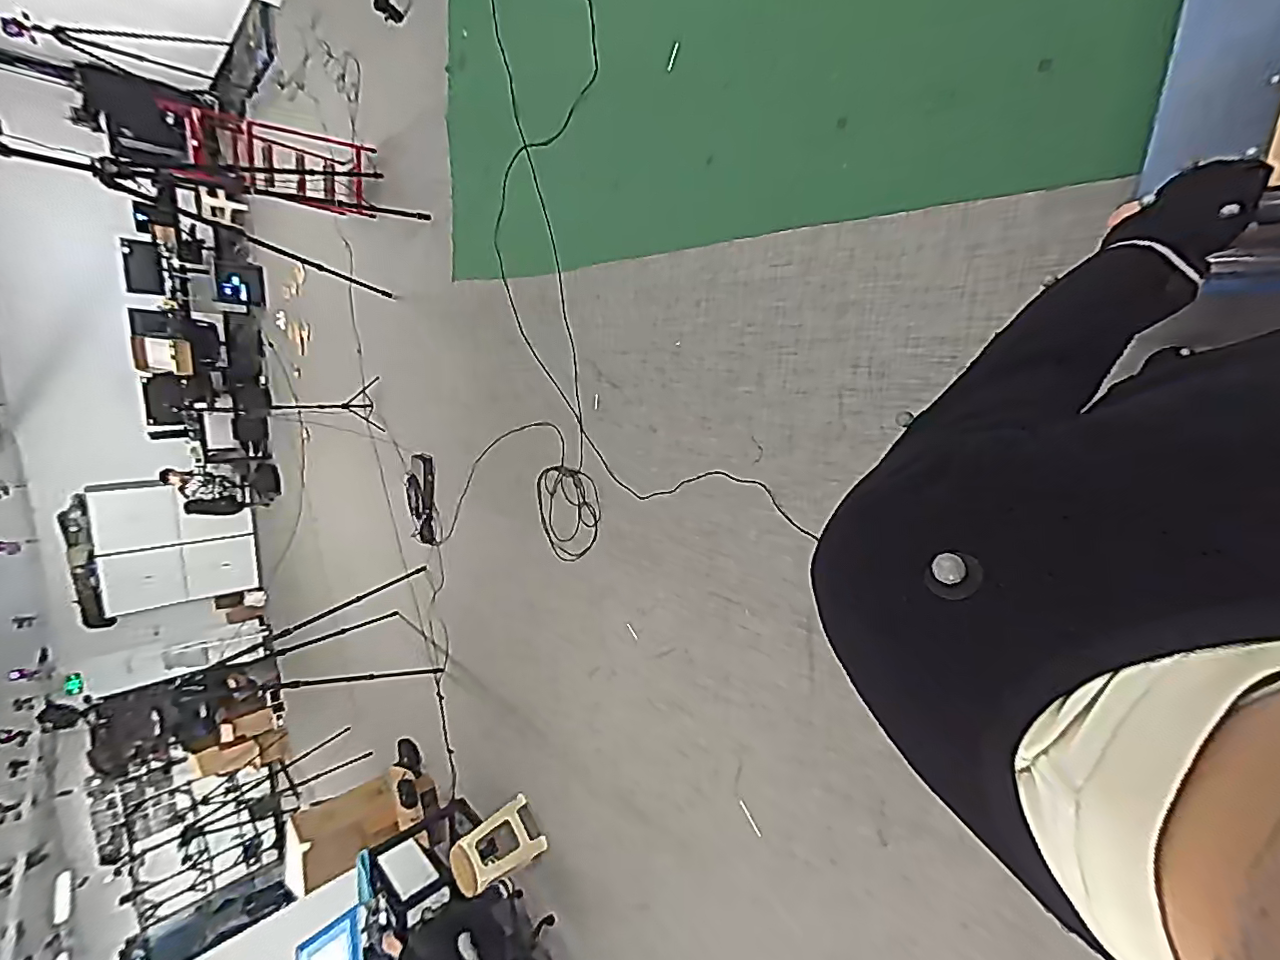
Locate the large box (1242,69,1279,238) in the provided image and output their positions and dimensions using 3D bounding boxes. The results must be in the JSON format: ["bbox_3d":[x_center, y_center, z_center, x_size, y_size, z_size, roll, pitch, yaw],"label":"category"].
[{"bbox_3d":[1.099,-0.590,0.734,0.320,0.320,0.408,15,105,42],"label":"large box"}]
